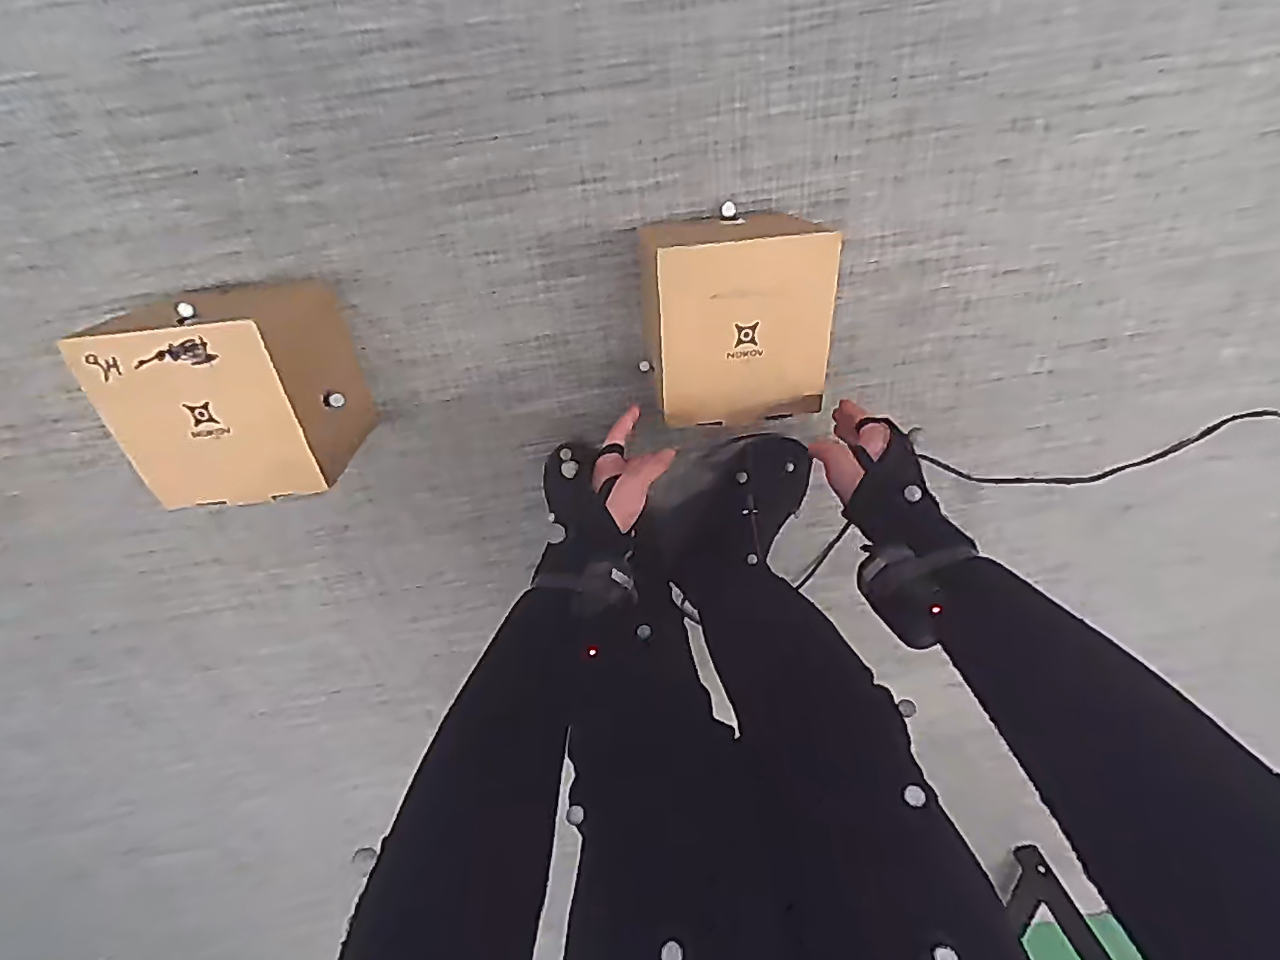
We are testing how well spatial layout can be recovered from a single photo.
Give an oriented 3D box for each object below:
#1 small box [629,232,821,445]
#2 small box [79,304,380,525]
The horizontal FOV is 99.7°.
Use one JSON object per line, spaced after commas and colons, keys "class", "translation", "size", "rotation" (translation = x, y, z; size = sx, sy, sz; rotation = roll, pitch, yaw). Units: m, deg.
{"class": "small box", "translation": [0.082, -0.160, 0.592], "size": [0.168, 0.176, 0.179], "rotation": [-8, 120, -2]}
{"class": "small box", "translation": [-0.411, -0.076, 0.587], "size": [0.168, 0.176, 0.179], "rotation": [-7, 122, -2]}
